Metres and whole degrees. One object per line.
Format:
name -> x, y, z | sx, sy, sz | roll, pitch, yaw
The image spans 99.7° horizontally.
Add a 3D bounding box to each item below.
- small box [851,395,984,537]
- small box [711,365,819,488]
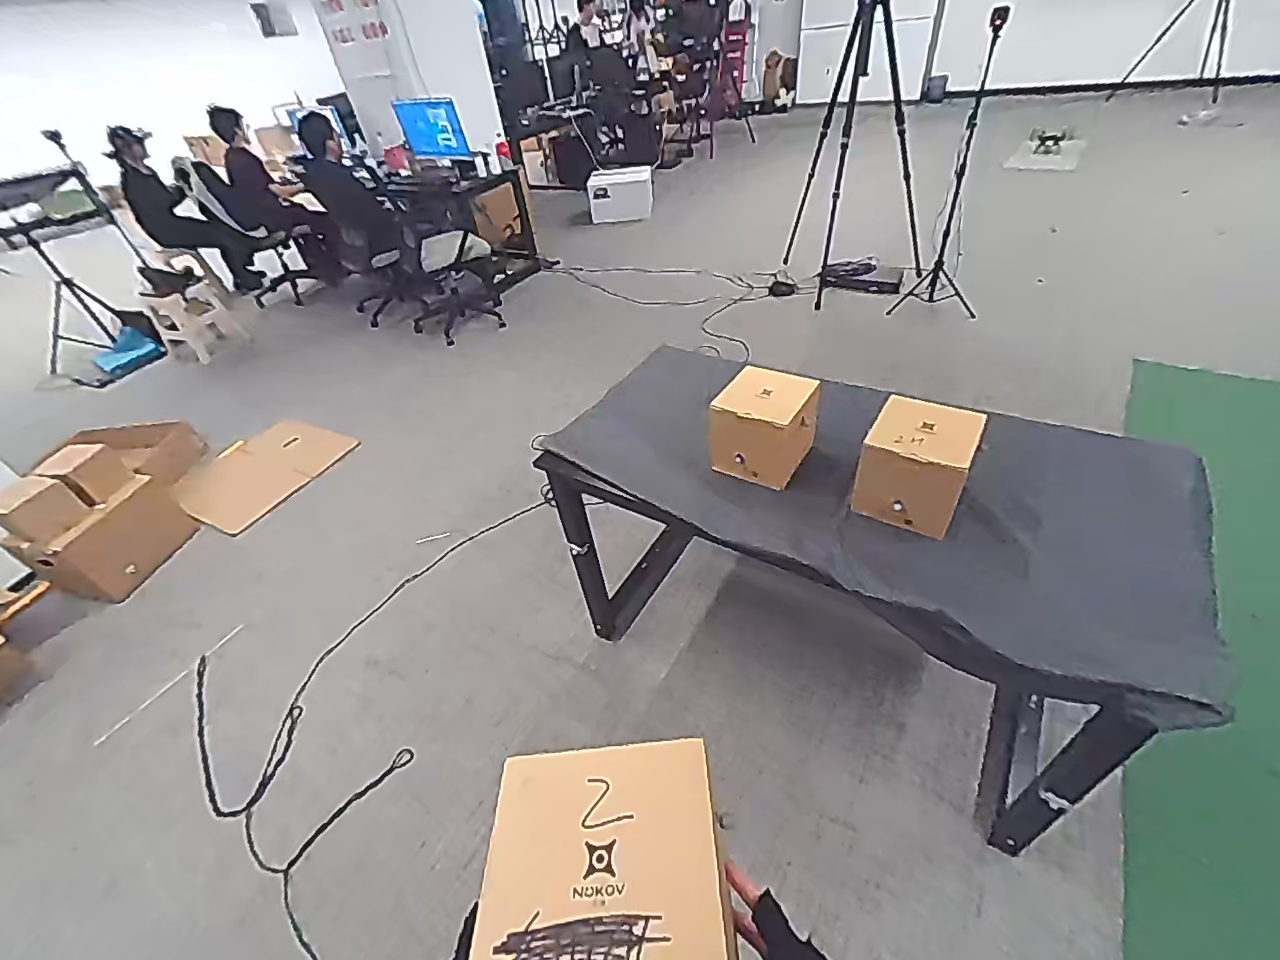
small box -> 0.508, -0.028, 1.006 | 0.168, 0.176, 0.179 | 21, 48, 29
small box -> 0.260, -0.115, 1.145 | 0.168, 0.176, 0.179 | 21, 49, 28
